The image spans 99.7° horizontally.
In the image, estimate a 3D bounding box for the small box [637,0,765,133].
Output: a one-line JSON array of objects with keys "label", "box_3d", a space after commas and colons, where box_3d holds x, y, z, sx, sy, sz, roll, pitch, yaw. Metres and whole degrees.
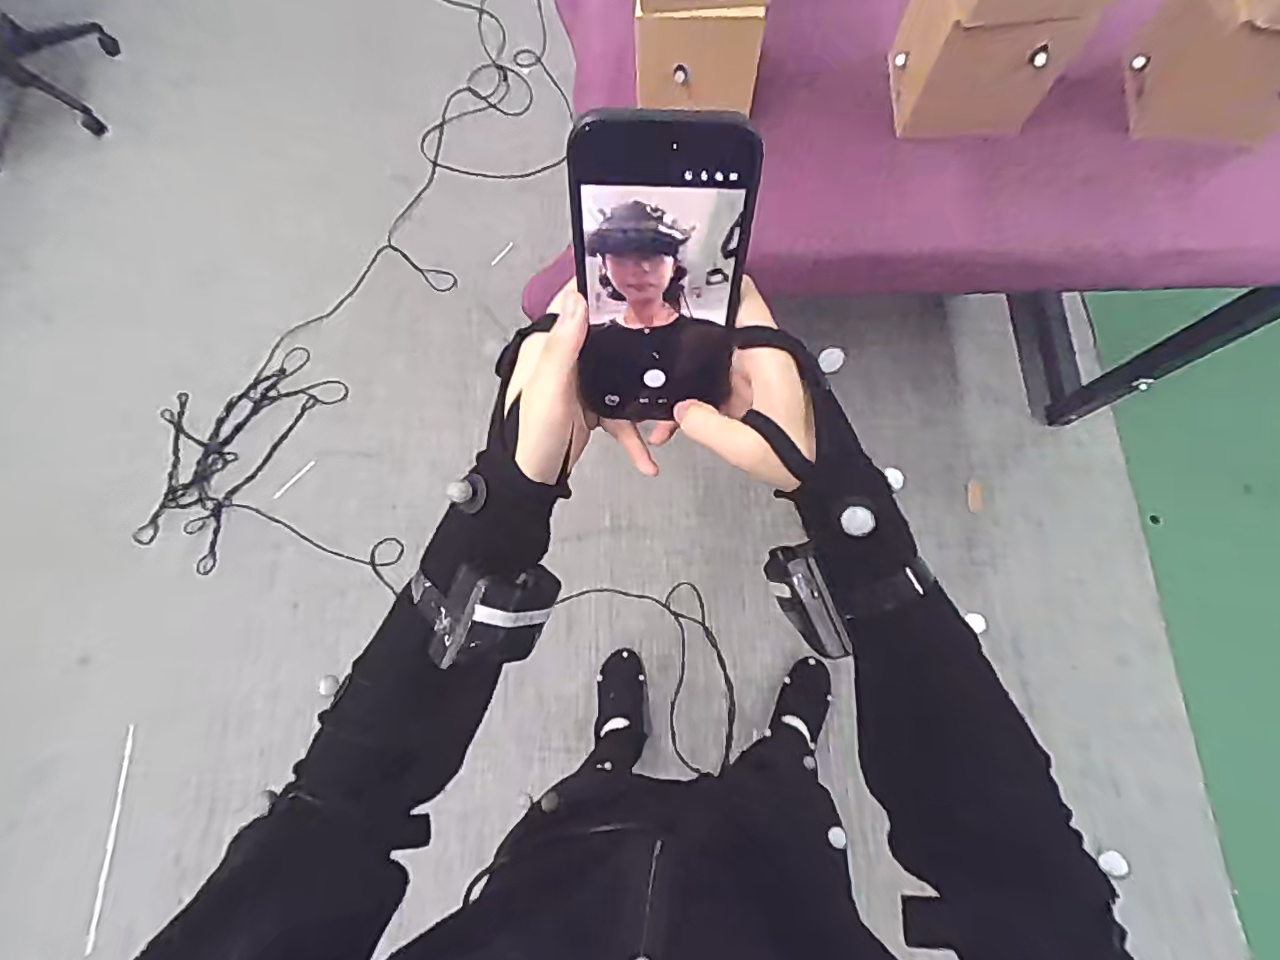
[{"label": "small box", "box_3d": [0.088, -0.638, 0.784, 0.168, 0.176, 0.179, 3, 74, 3]}]

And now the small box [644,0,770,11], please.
[{"label": "small box", "box_3d": [0.081, -0.690, 0.628, 0.168, 0.176, 0.179, -2, 75, 1]}]

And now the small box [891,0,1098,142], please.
[{"label": "small box", "box_3d": [0.476, -0.605, 0.755, 0.179, 0.176, 0.168, 2, 74, 3]}]

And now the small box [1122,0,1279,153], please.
[{"label": "small box", "box_3d": [0.815, -0.579, 0.733, 0.179, 0.176, 0.168, 8, 75, 5]}]
